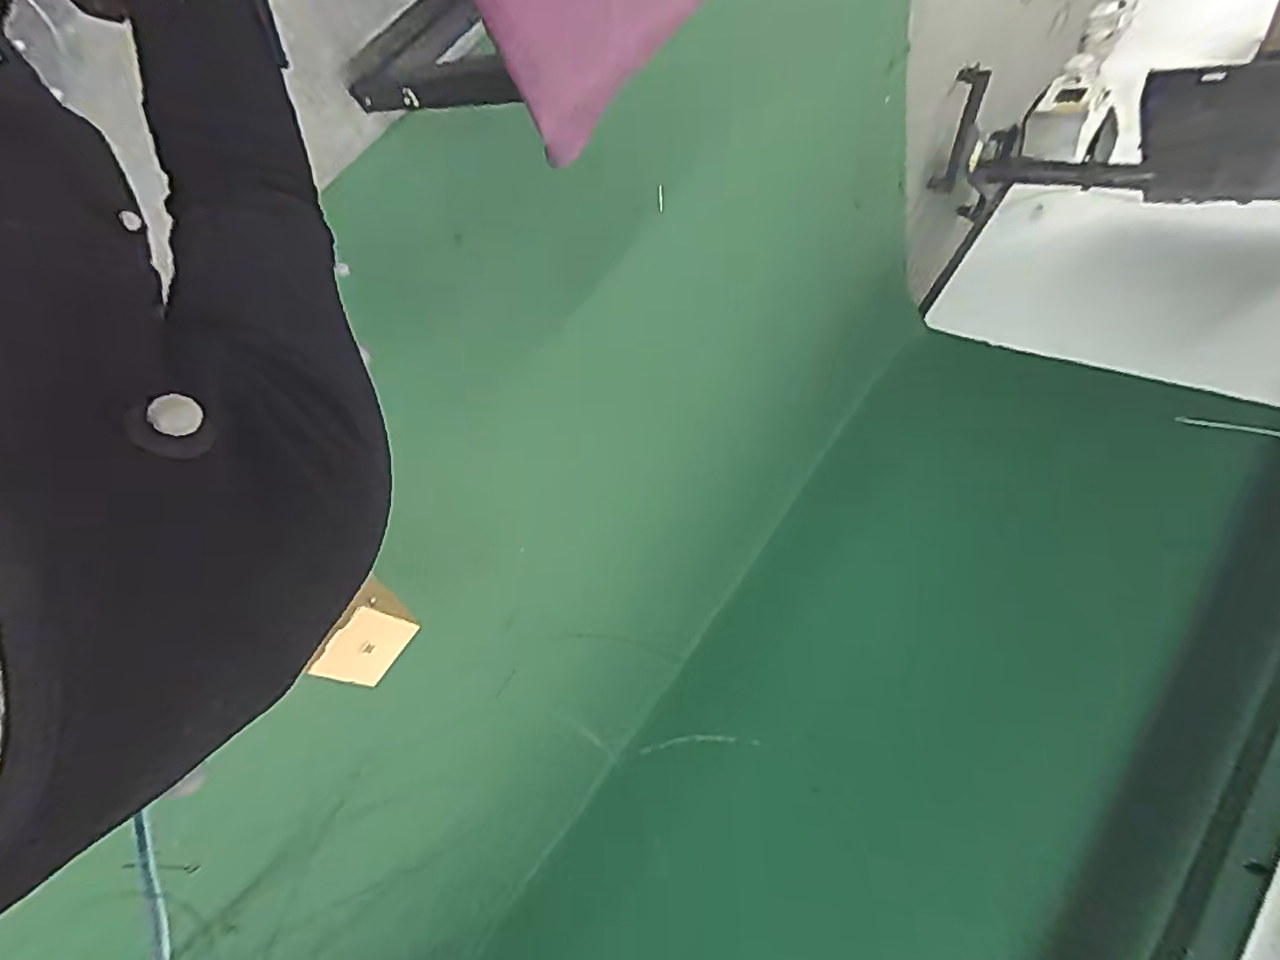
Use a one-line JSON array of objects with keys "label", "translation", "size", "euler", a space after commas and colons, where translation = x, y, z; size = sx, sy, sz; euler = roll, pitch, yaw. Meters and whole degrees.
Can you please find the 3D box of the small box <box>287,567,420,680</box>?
[{"label": "small box", "translation": [-0.648, 0.321, 1.225], "size": [0.168, 0.176, 0.179], "euler": [-54, 143, -9]}]
